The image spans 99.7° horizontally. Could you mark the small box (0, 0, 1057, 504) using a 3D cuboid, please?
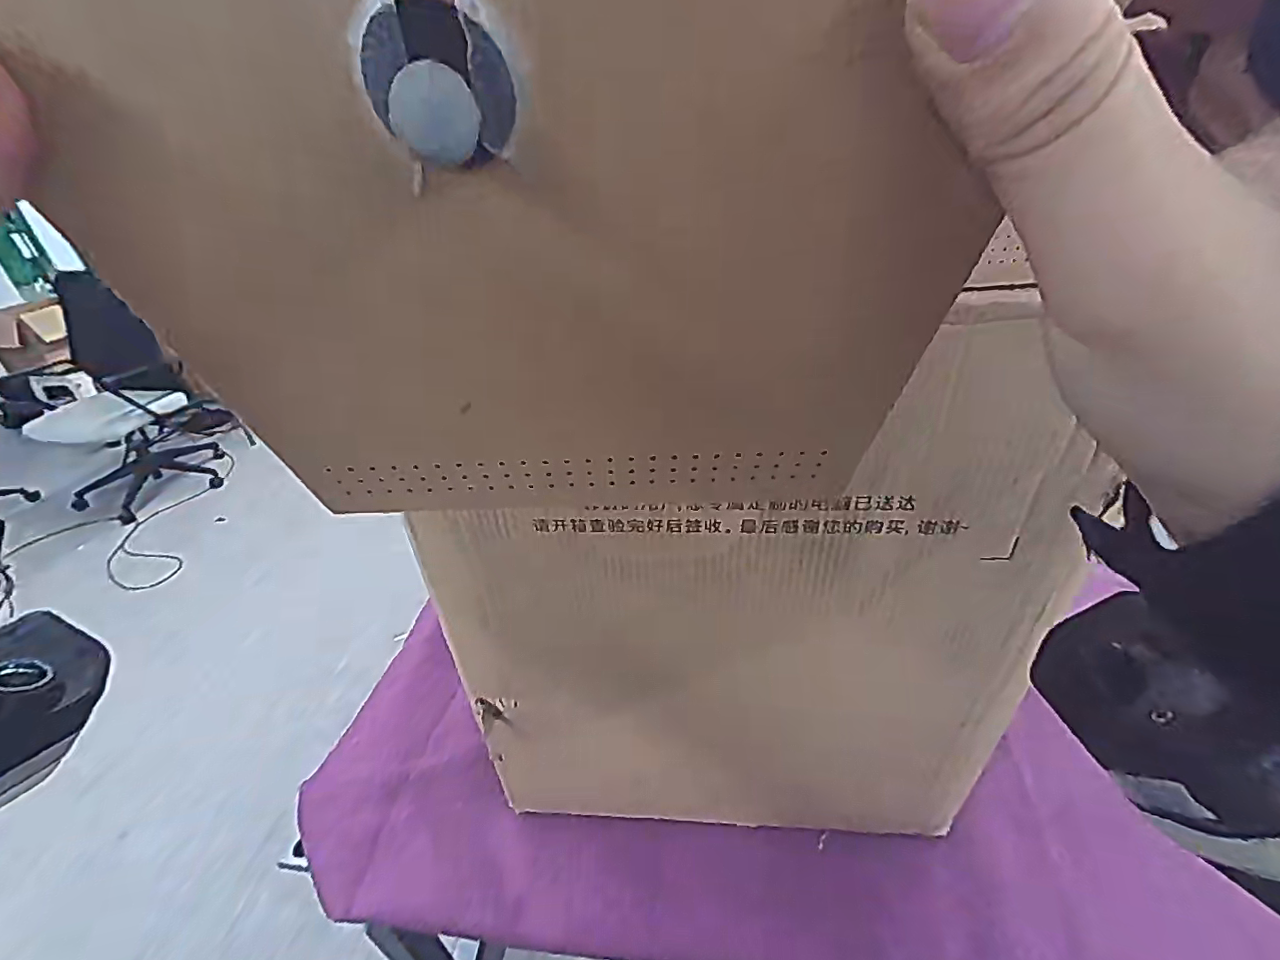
[{"bbox_3d":[-0.019,-0.103,0.162,0.179,0.176,0.168,-2,57,-1],"label":"small box"}]

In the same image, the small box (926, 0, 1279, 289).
[{"bbox_3d":[0.217,-0.219,0.323,0.179,0.176,0.168,-2,34,4],"label":"small box"}]
